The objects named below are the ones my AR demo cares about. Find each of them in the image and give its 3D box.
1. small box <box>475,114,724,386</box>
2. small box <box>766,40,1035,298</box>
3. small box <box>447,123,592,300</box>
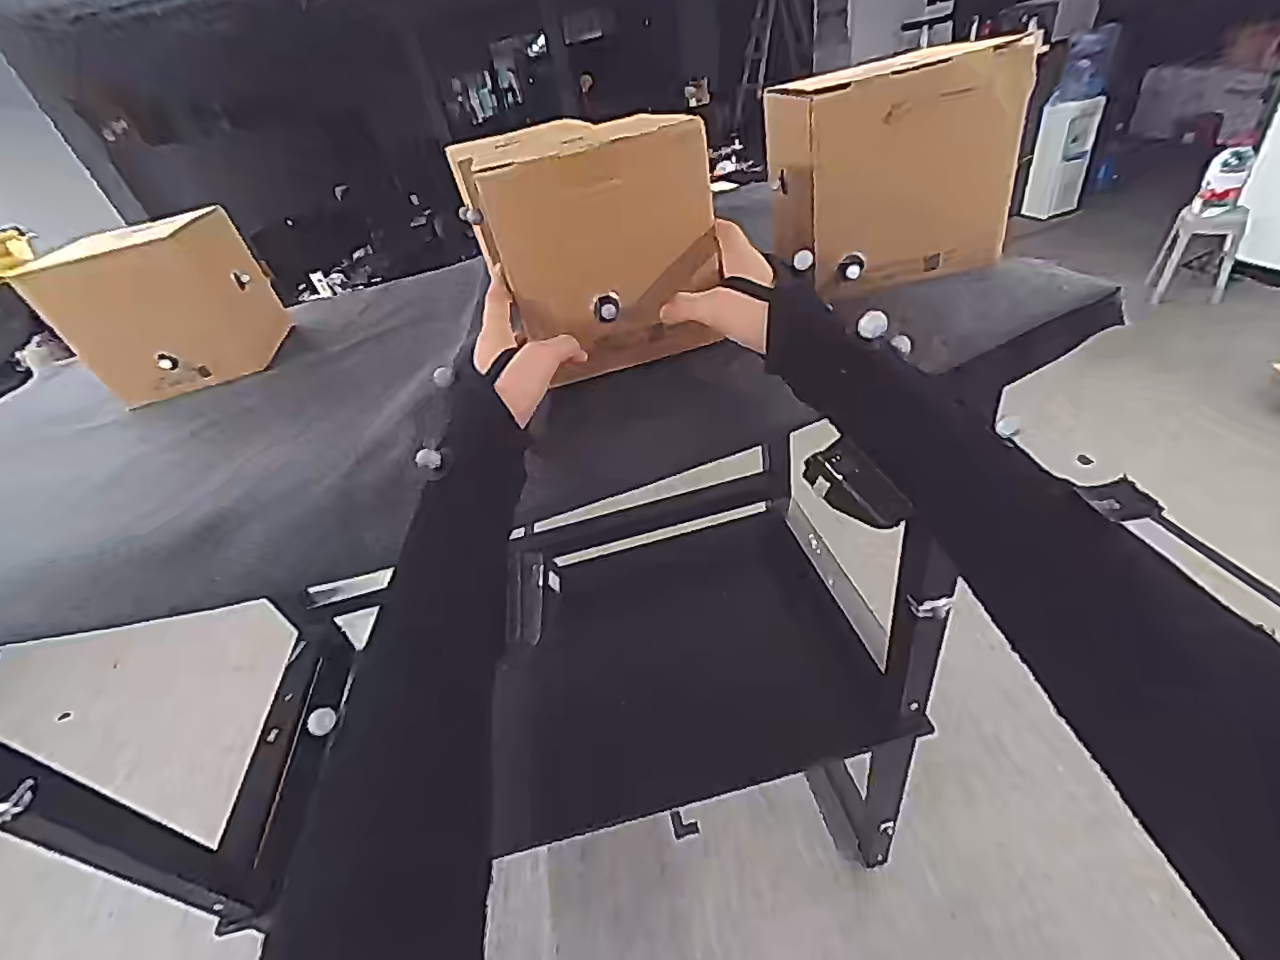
[{"bbox_3d":[-0.036,-0.205,0.476,0.168,0.176,0.179,-18,37,-5],"label":"small box"},{"bbox_3d":[0.223,-0.285,0.511,0.168,0.176,0.179,-10,36,6],"label":"small box"},{"bbox_3d":[-0.141,-0.357,0.719,0.168,0.176,0.179,-22,38,-9],"label":"small box"}]
